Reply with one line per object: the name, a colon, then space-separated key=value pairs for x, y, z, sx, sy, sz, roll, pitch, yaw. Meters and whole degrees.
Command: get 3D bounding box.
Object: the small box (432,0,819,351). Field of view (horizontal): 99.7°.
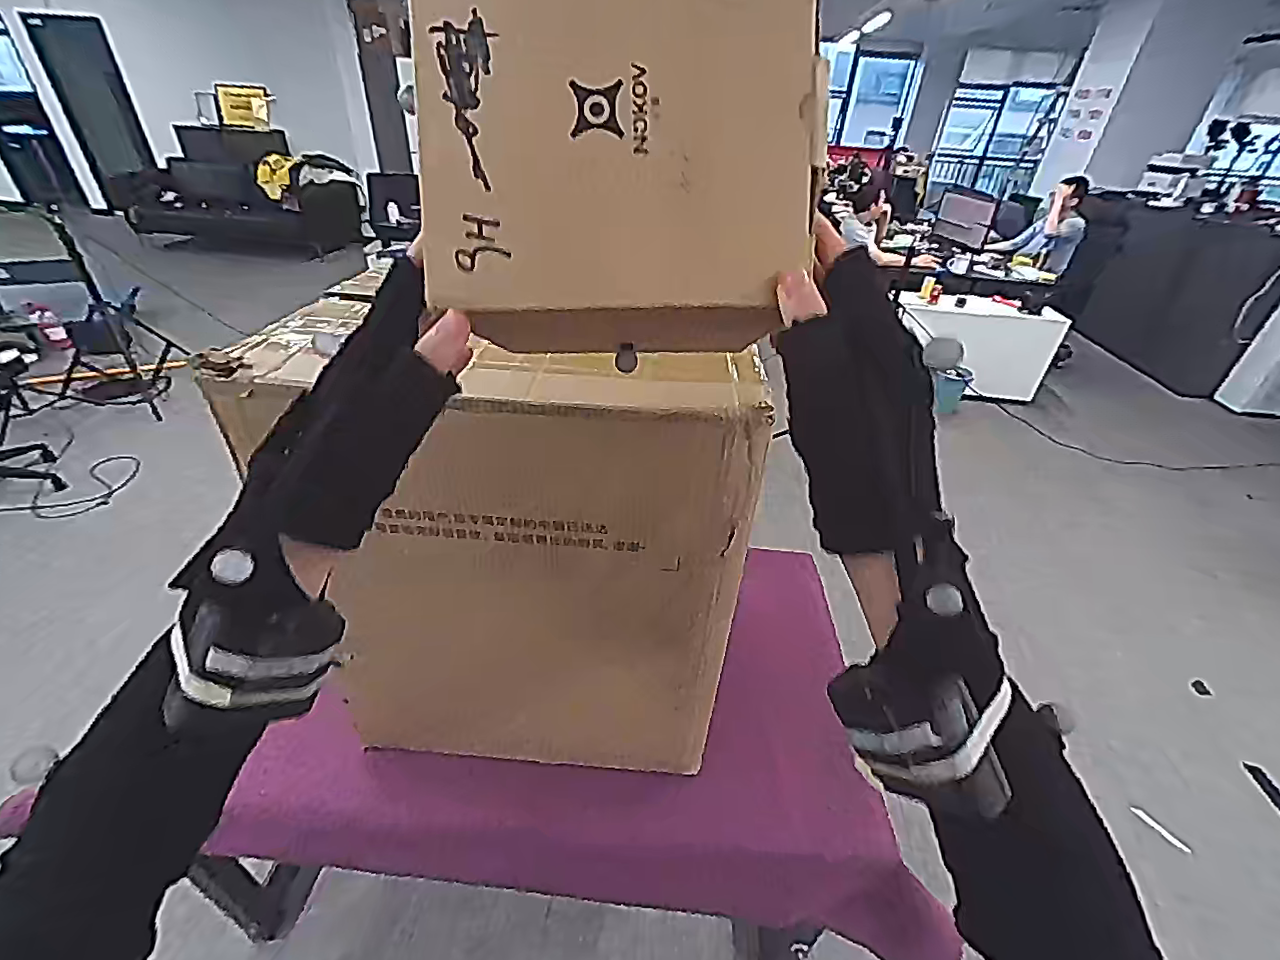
small box: x=-0.009 y=-0.175 z=0.325 sx=0.179 sy=0.168 sz=0.176 roll=0 pitch=4 yaw=-1
